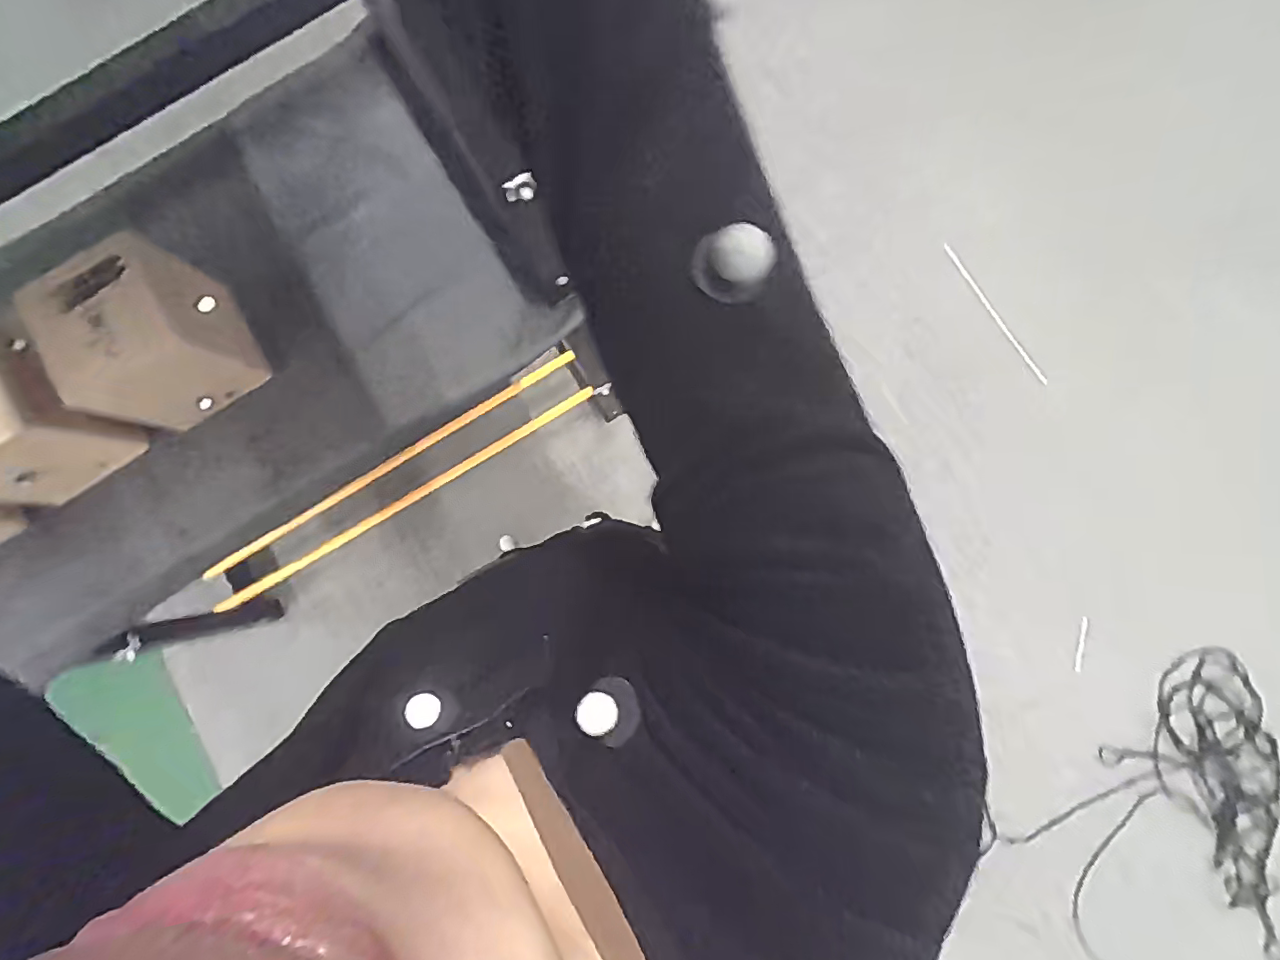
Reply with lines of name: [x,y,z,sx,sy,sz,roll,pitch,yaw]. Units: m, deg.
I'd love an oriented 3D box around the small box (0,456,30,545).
small box: [-1.051,0.030,0.763,0.168,0.176,0.179,-34,83,0]
